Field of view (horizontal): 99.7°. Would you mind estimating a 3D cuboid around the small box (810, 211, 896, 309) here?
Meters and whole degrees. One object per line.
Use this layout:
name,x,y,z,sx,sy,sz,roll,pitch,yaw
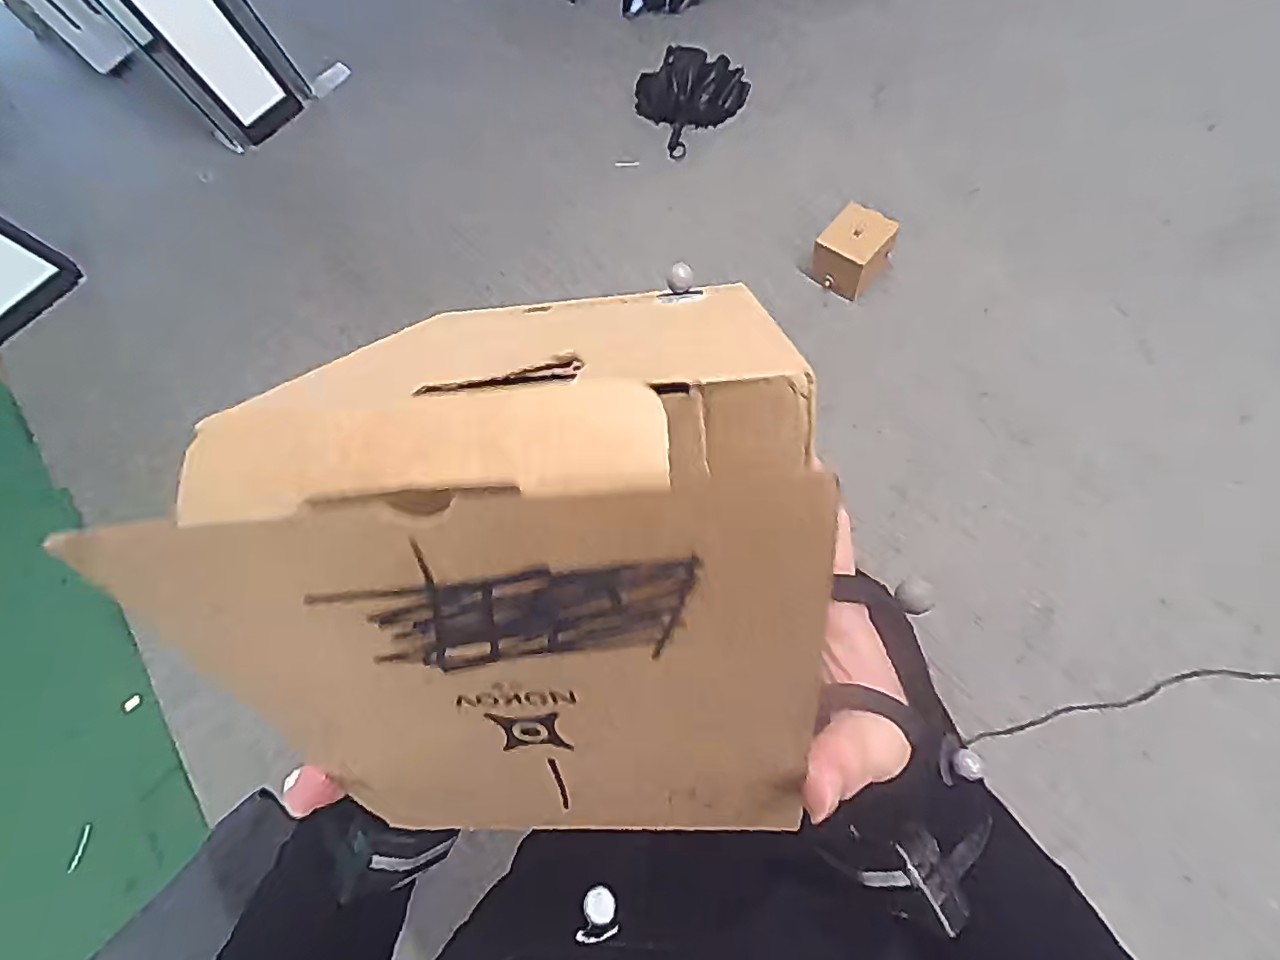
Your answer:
small box,0.633,-0.660,1.633,0.168,0.176,0.179,38,82,22
